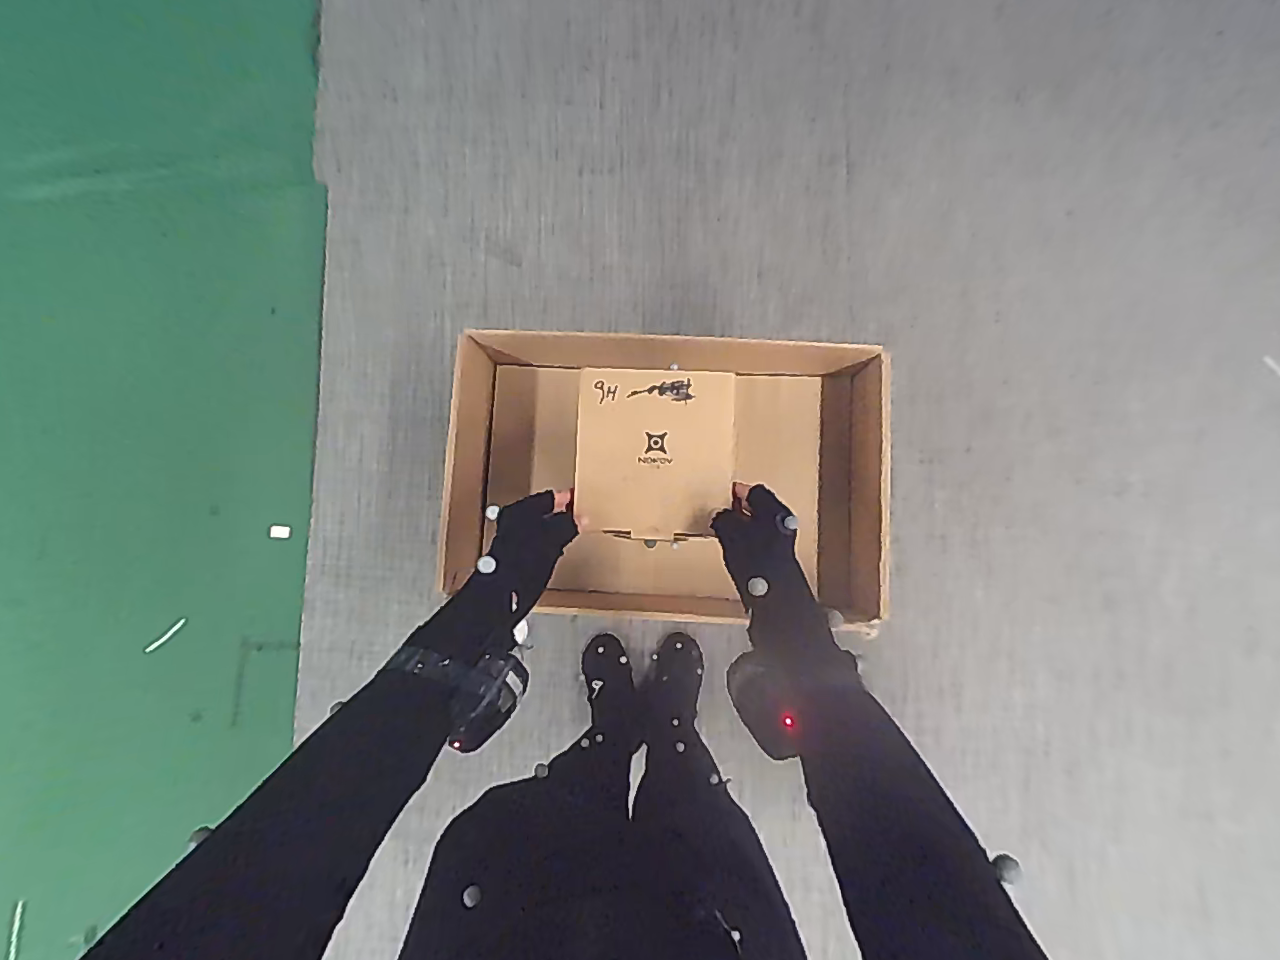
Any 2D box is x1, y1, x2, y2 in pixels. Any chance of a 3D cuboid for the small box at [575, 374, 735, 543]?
[{"bbox_3d":[0.019,-0.019,0.649,0.168,0.176,0.179,2,86,1],"label":"small box"}]
